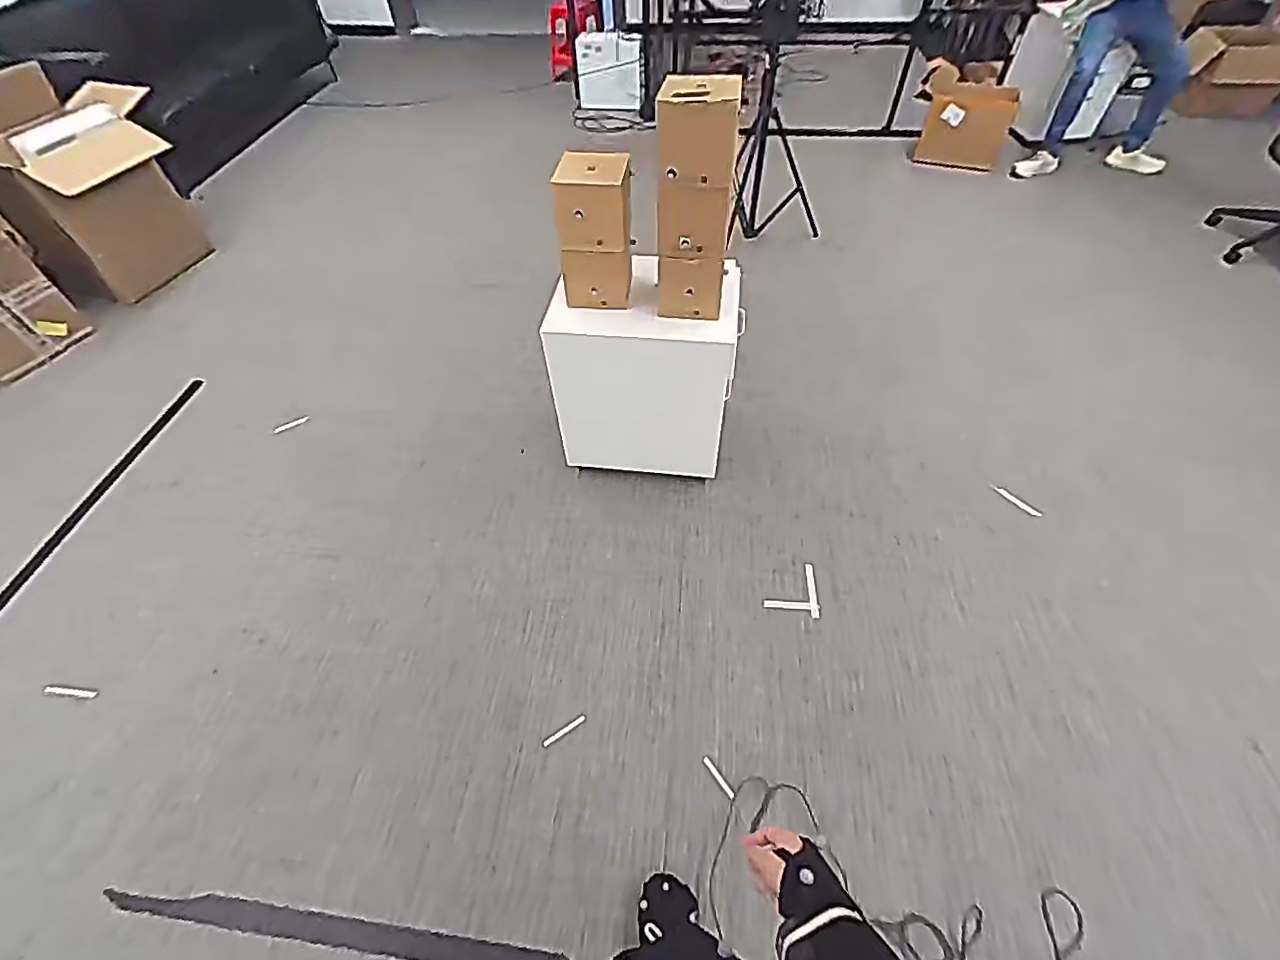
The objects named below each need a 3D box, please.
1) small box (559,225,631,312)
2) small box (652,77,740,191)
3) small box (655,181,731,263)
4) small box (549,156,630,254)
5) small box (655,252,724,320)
[{"bbox_3d":[-0.115,-0.581,1.470,0.168,0.176,0.179,3,52,4],"label":"small box"},{"bbox_3d":[0.124,-0.752,1.180,0.168,0.176,0.179,6,50,9],"label":"small box"},{"bbox_3d":[0.130,-0.651,1.310,0.168,0.176,0.179,5,52,8],"label":"small box"},{"bbox_3d":[-0.117,-0.679,1.341,0.168,0.176,0.179,4,51,4],"label":"small box"},{"bbox_3d":[0.134,-0.542,1.432,0.168,0.176,0.179,5,53,7],"label":"small box"}]
